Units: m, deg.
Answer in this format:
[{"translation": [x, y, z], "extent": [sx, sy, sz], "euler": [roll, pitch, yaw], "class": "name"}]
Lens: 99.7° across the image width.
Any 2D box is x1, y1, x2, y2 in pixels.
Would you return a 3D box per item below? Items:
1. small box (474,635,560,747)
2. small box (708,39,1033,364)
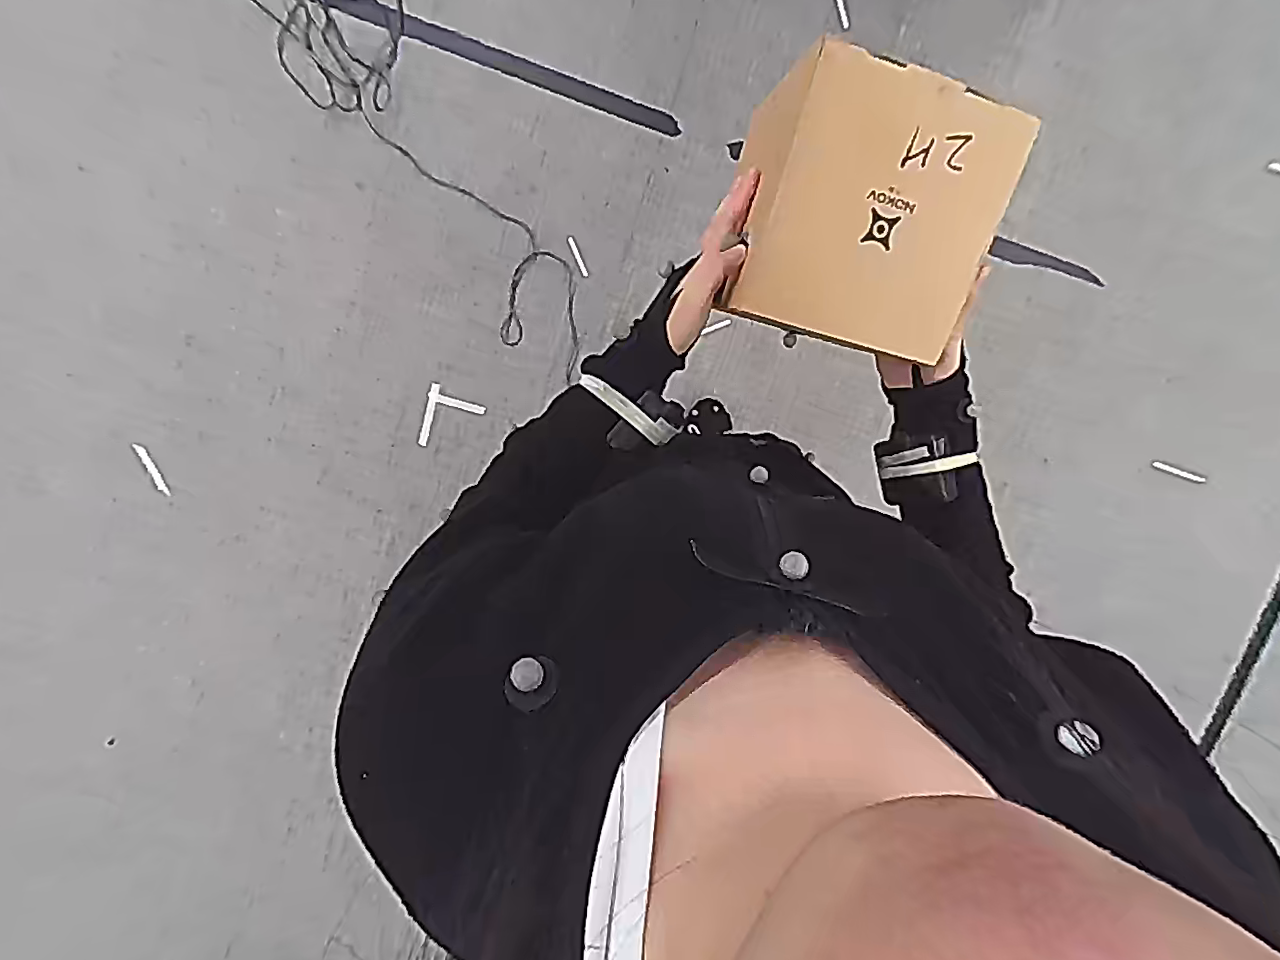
[{"translation": [-0.279, 0.466, 1.173], "extent": [0.168, 0.176, 0.179], "euler": [17, 96, -2], "class": "small box"}, {"translation": [0.167, -0.214, 0.461], "extent": [0.168, 0.176, 0.179], "euler": [13, 108, -10], "class": "small box"}]
